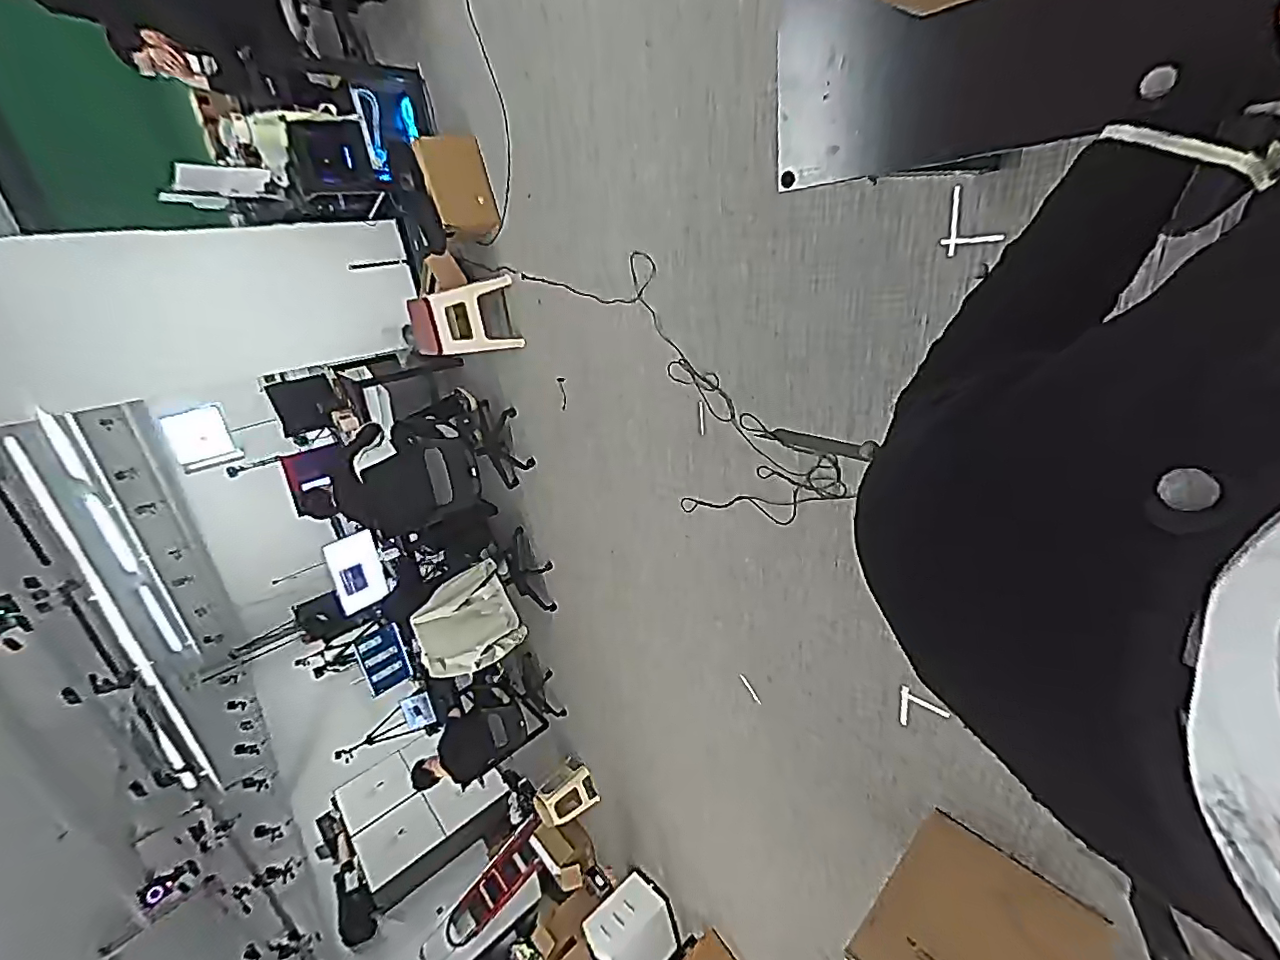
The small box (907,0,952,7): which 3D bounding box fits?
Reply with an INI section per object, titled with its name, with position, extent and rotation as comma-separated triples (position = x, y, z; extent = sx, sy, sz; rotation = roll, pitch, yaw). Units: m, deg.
[small box]
position = 0.315, -0.567, 0.488
extent = 0.179, 0.176, 0.168
rotation = 20, 125, 44
